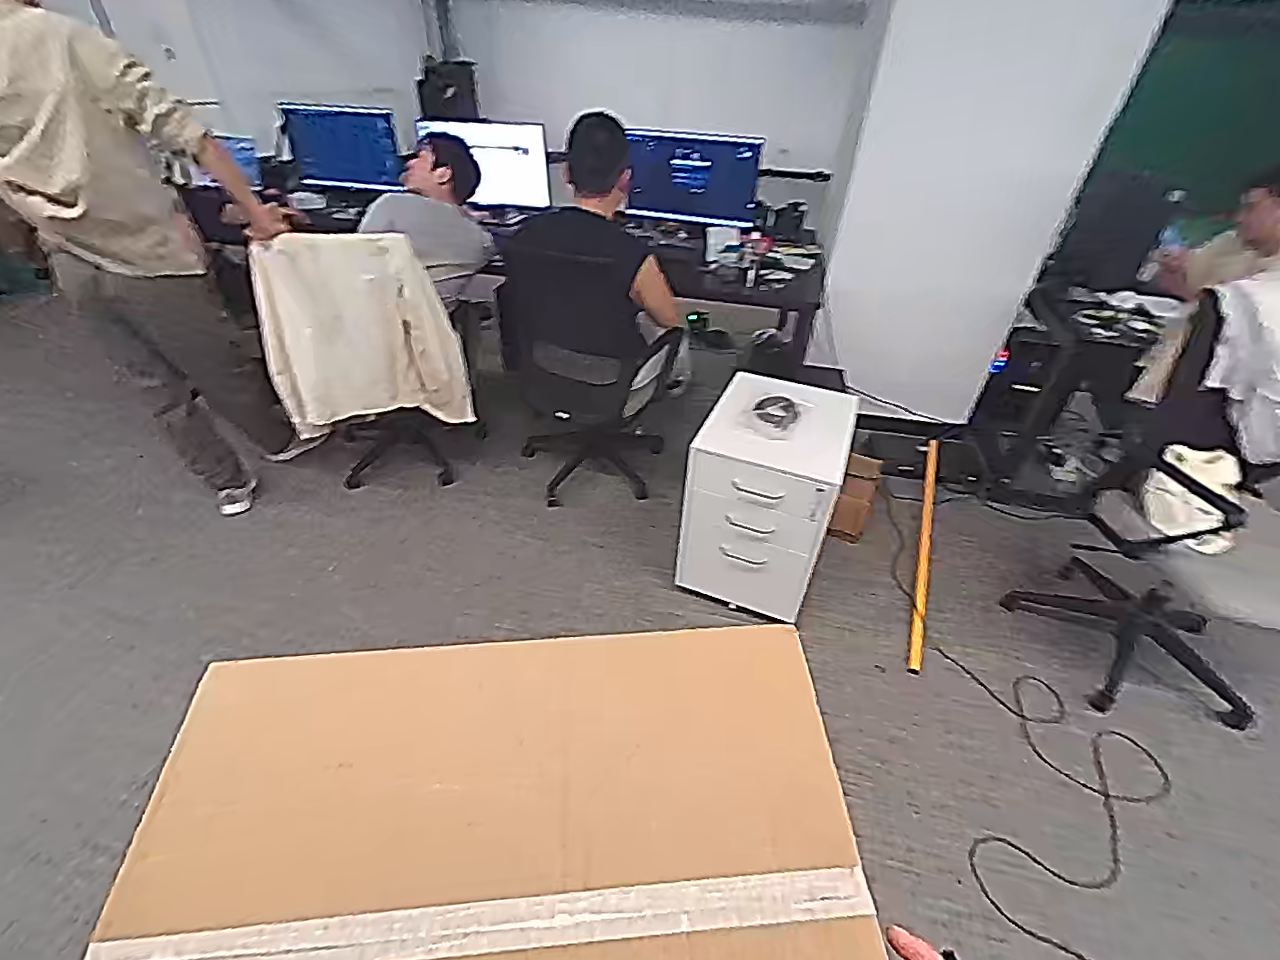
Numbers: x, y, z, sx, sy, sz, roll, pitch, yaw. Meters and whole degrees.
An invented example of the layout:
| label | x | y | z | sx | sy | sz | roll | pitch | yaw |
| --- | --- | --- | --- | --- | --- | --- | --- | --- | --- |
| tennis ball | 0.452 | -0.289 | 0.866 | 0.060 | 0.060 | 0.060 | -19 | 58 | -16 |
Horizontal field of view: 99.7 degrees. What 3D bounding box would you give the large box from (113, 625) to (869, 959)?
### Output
| label | x | y | z | sx | sy | sz | roll | pitch | yaw |
| --- | --- | --- | --- | --- | --- | --- | --- | --- | --- |
| large box | -0.082 | 0.333 | 0.409 | 0.408 | 0.320 | 0.320 | -3 | 52 | -4 |
